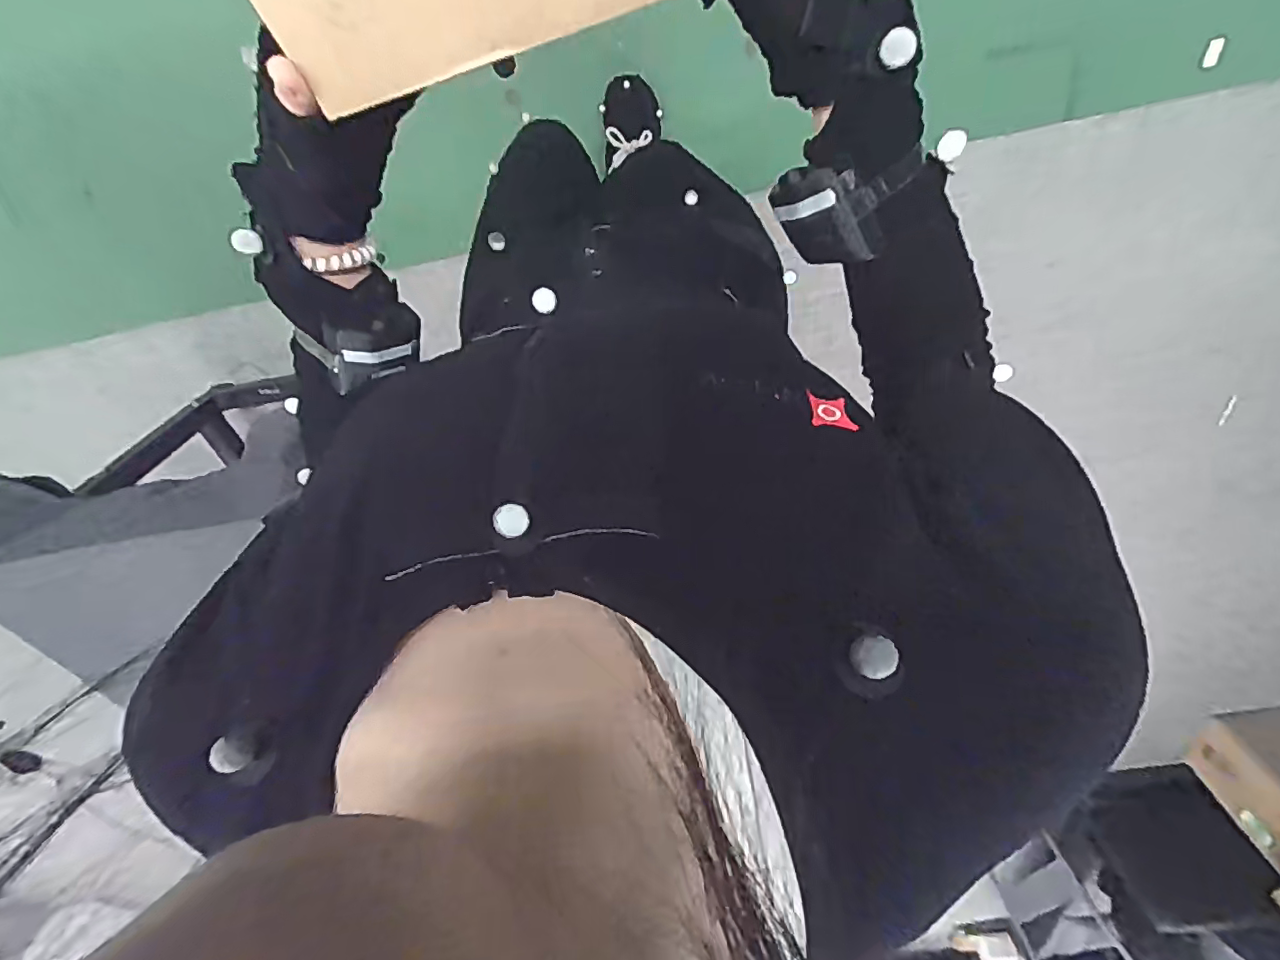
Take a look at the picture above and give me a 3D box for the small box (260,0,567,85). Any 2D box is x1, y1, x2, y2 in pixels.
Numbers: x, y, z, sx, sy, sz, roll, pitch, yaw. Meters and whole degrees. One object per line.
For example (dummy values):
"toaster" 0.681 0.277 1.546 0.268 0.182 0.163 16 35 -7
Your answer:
"small box" -0.082 -0.299 0.210 0.179 0.176 0.168 -10 142 12
